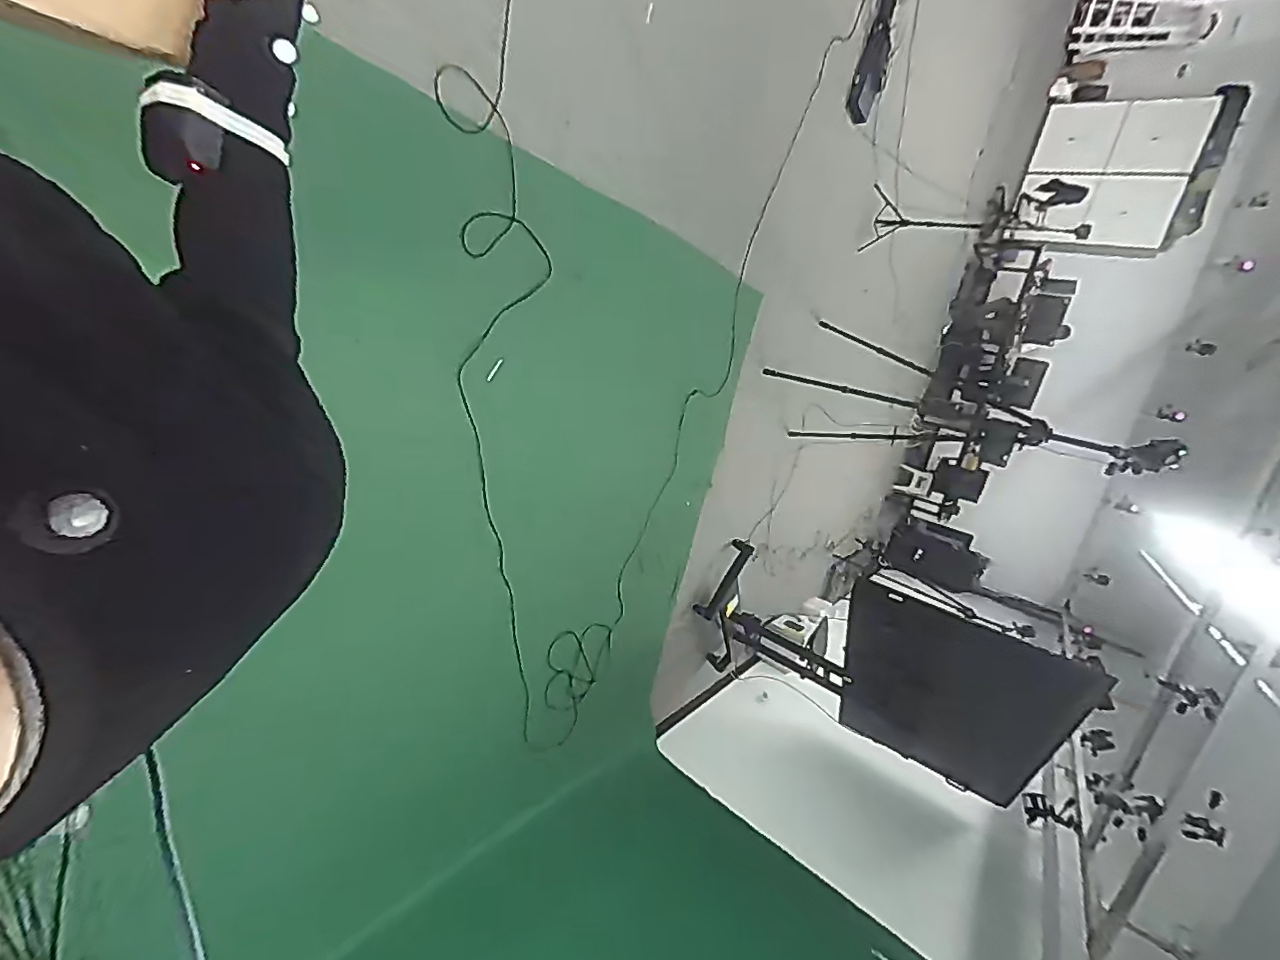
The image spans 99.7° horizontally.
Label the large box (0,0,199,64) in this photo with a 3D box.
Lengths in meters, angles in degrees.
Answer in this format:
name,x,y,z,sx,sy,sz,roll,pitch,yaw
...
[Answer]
name,x,y,z,sx,sy,sz,roll,pitch,yaw
large box,-0.544,-0.504,0.292,0.408,0.320,0.320,-16,129,-55
